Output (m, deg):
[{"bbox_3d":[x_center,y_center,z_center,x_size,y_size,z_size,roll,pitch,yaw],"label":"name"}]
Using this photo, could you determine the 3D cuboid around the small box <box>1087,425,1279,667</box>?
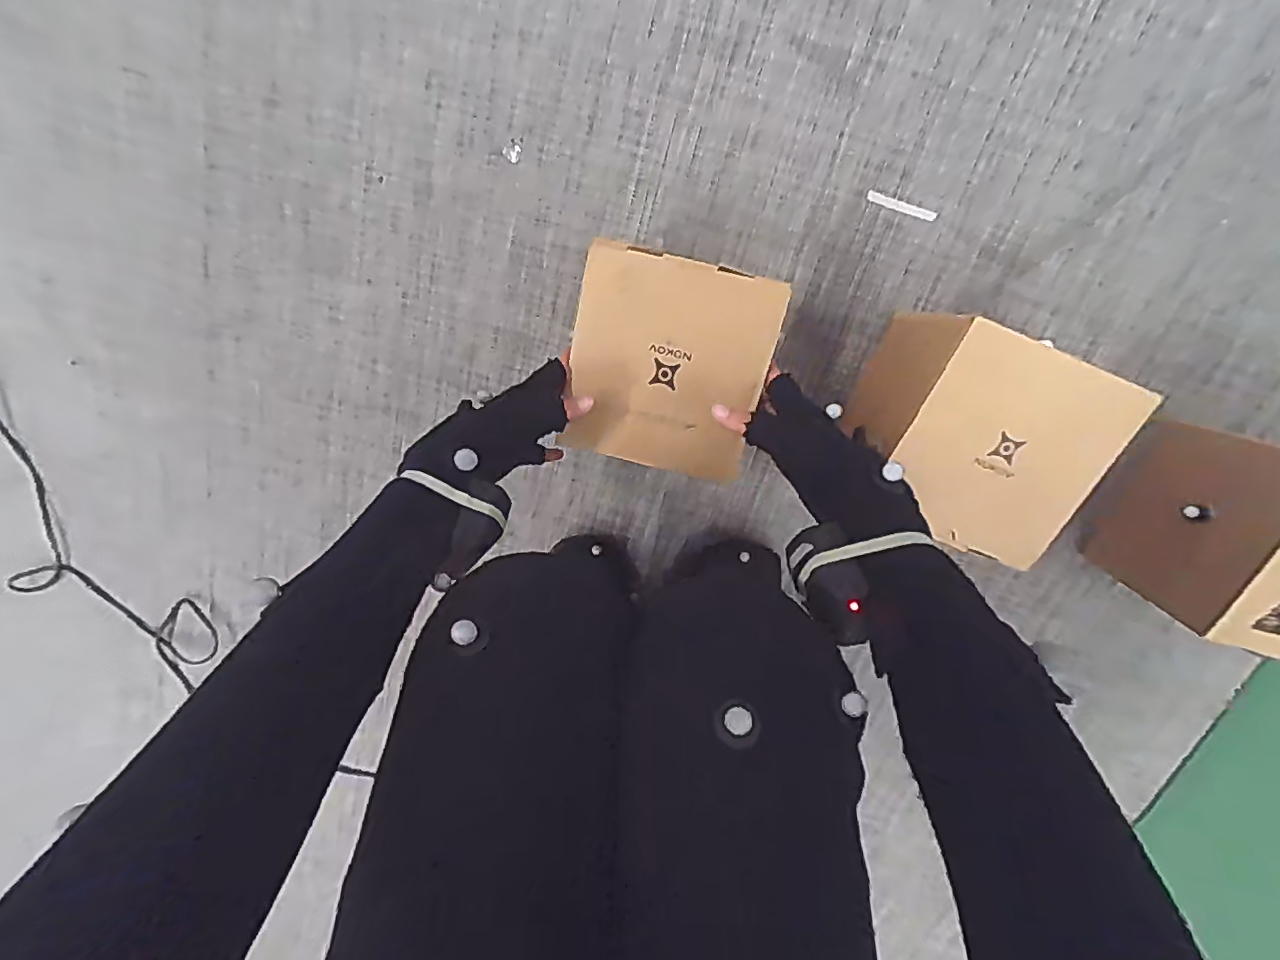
[{"bbox_3d":[0.606,0.064,0.536,0.168,0.176,0.179,18,109,-1],"label":"small box"}]

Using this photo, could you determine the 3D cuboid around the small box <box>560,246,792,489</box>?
[{"bbox_3d":[0.032,-0.115,0.530,0.168,0.176,0.179,14,111,2],"label":"small box"}]
